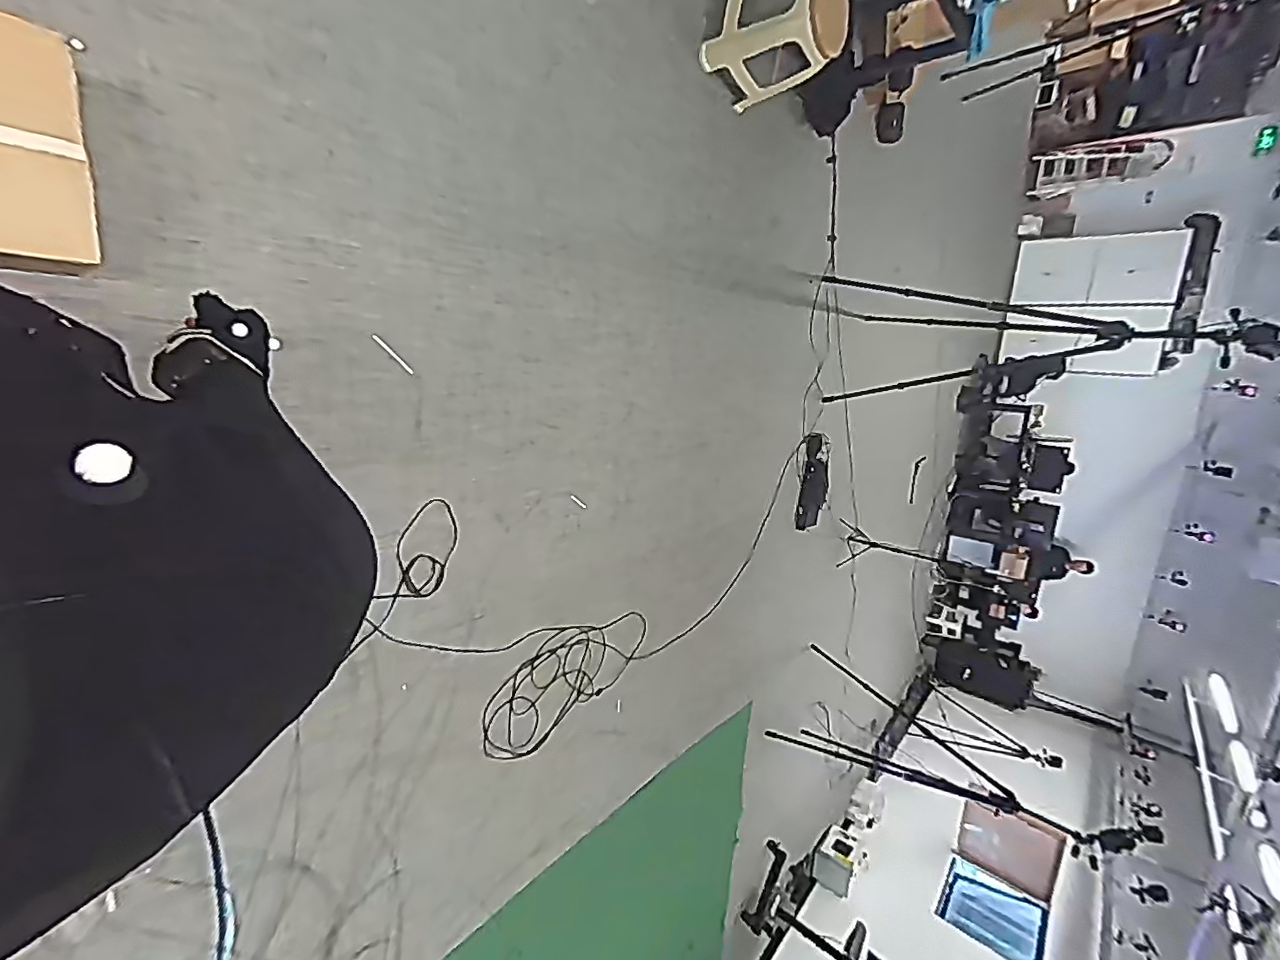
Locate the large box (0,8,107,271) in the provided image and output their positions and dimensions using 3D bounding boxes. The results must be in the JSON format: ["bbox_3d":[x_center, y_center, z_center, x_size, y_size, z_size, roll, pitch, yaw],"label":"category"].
[{"bbox_3d":[-1.064,-0.493,0.756,0.408,0.320,0.320,-10,109,-48],"label":"large box"}]
